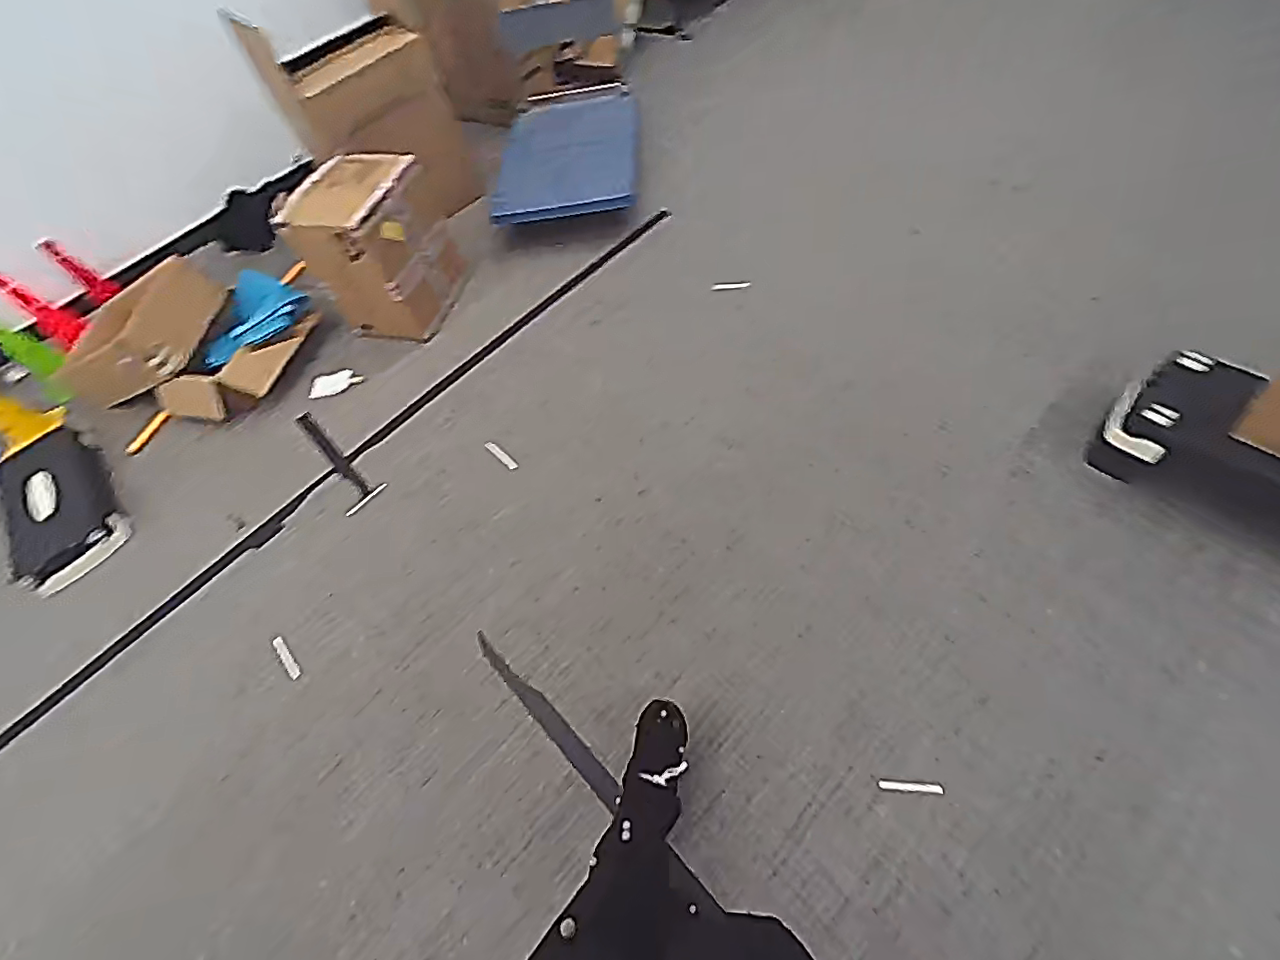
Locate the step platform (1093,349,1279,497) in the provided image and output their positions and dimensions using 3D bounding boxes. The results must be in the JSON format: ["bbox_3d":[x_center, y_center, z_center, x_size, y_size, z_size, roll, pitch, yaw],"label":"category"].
[{"bbox_3d":[1.468,-0.030,1.203,0.684,0.204,0.286,36,70,28],"label":"step platform"}]

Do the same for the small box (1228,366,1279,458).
[{"bbox_3d":[1.369,-0.154,1.092,0.179,0.176,0.168,-43,60,-16],"label":"small box"}]
